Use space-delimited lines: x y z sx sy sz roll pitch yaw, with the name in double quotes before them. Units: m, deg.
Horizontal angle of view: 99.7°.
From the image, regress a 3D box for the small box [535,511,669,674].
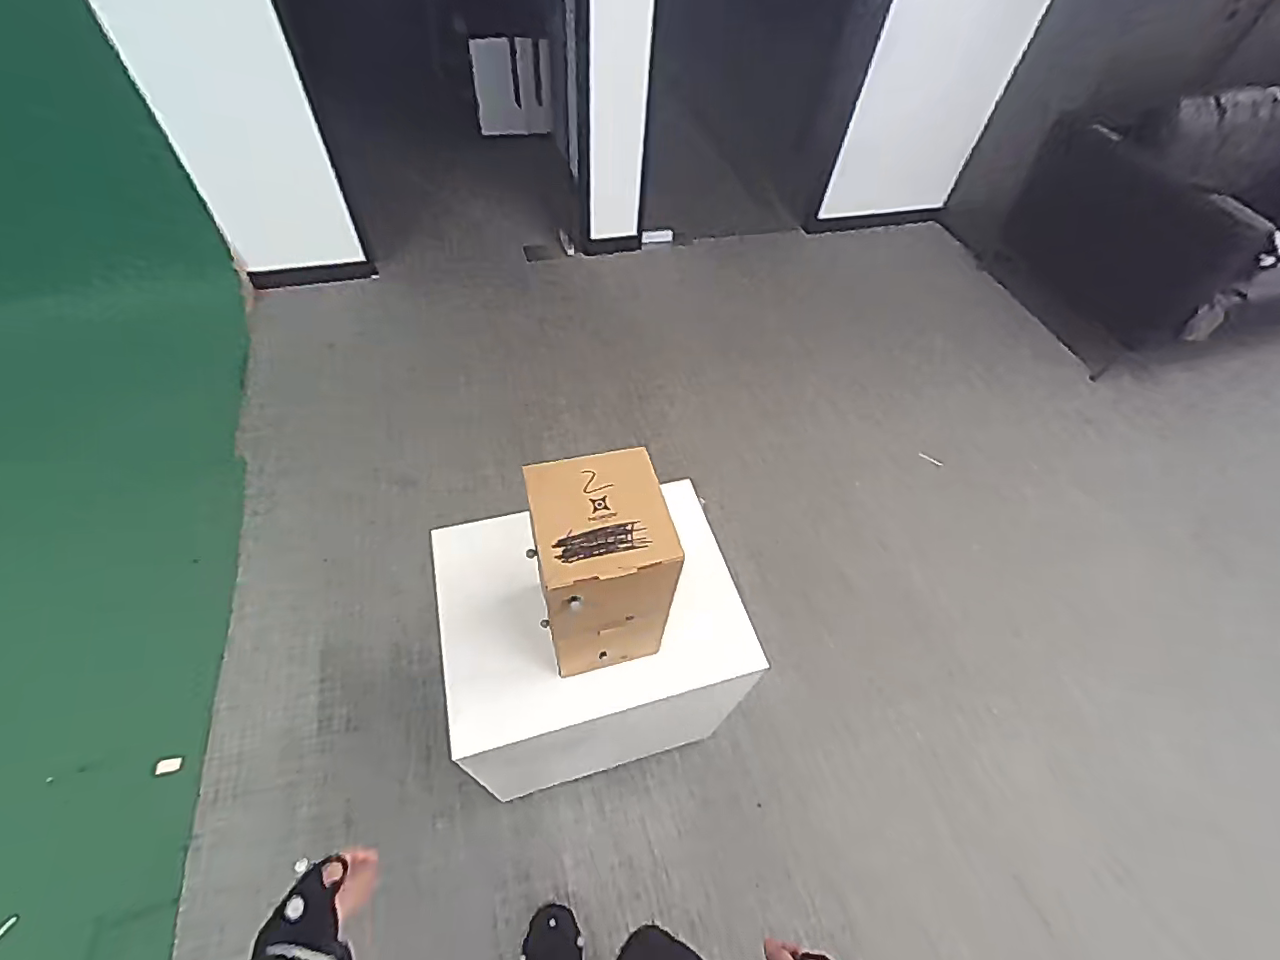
"small box" -0.066 0.177 0.846 0.168 0.176 0.179 -11 55 -13
